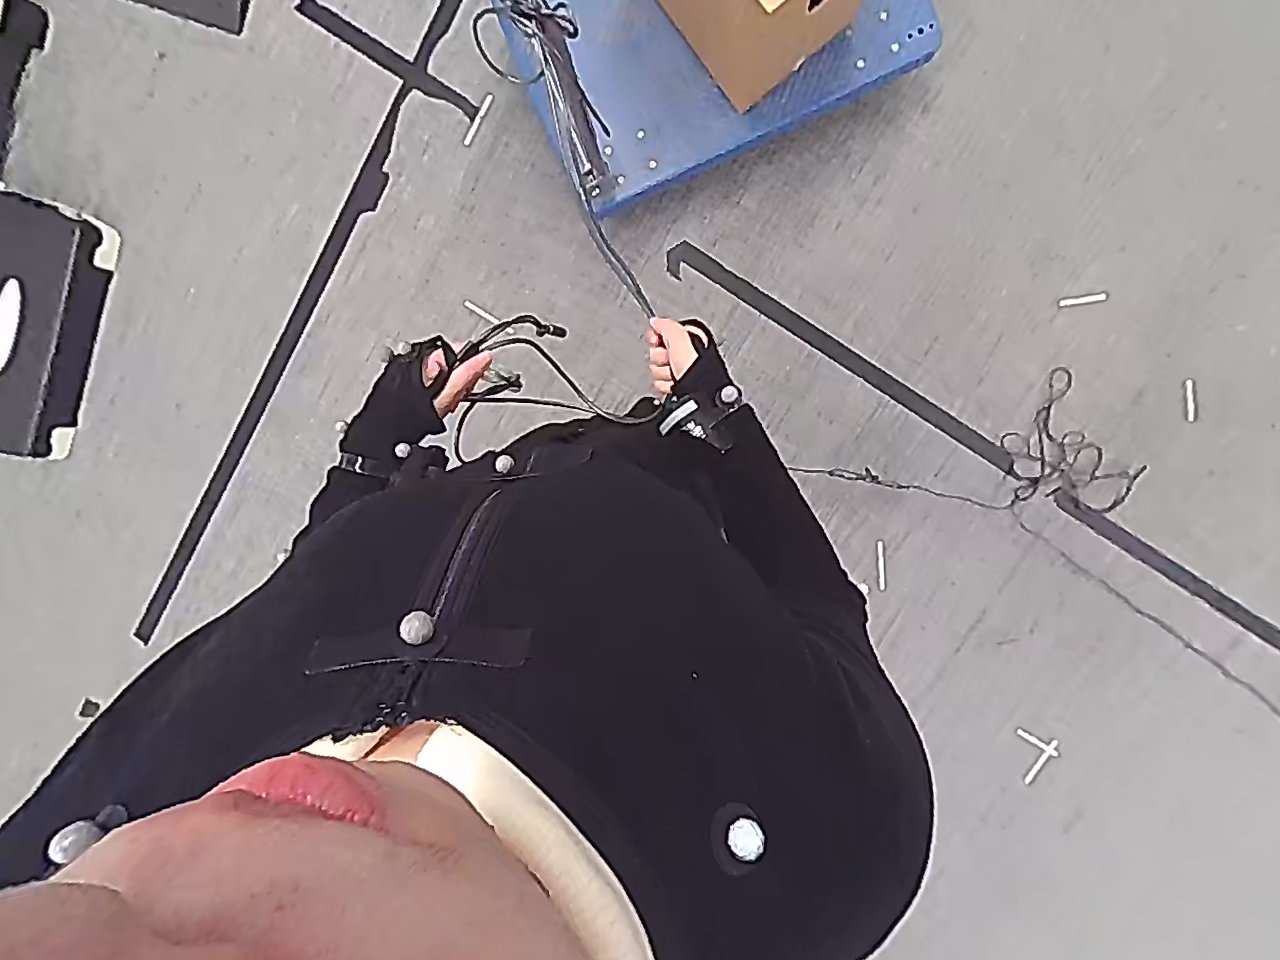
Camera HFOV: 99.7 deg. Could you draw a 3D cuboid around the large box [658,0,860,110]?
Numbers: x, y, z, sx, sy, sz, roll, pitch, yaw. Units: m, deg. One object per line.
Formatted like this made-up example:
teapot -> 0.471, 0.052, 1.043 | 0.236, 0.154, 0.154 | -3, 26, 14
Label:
large box -> 0.215, -1.040, 1.021 | 0.320, 0.320, 0.408 | -38, 96, 6
